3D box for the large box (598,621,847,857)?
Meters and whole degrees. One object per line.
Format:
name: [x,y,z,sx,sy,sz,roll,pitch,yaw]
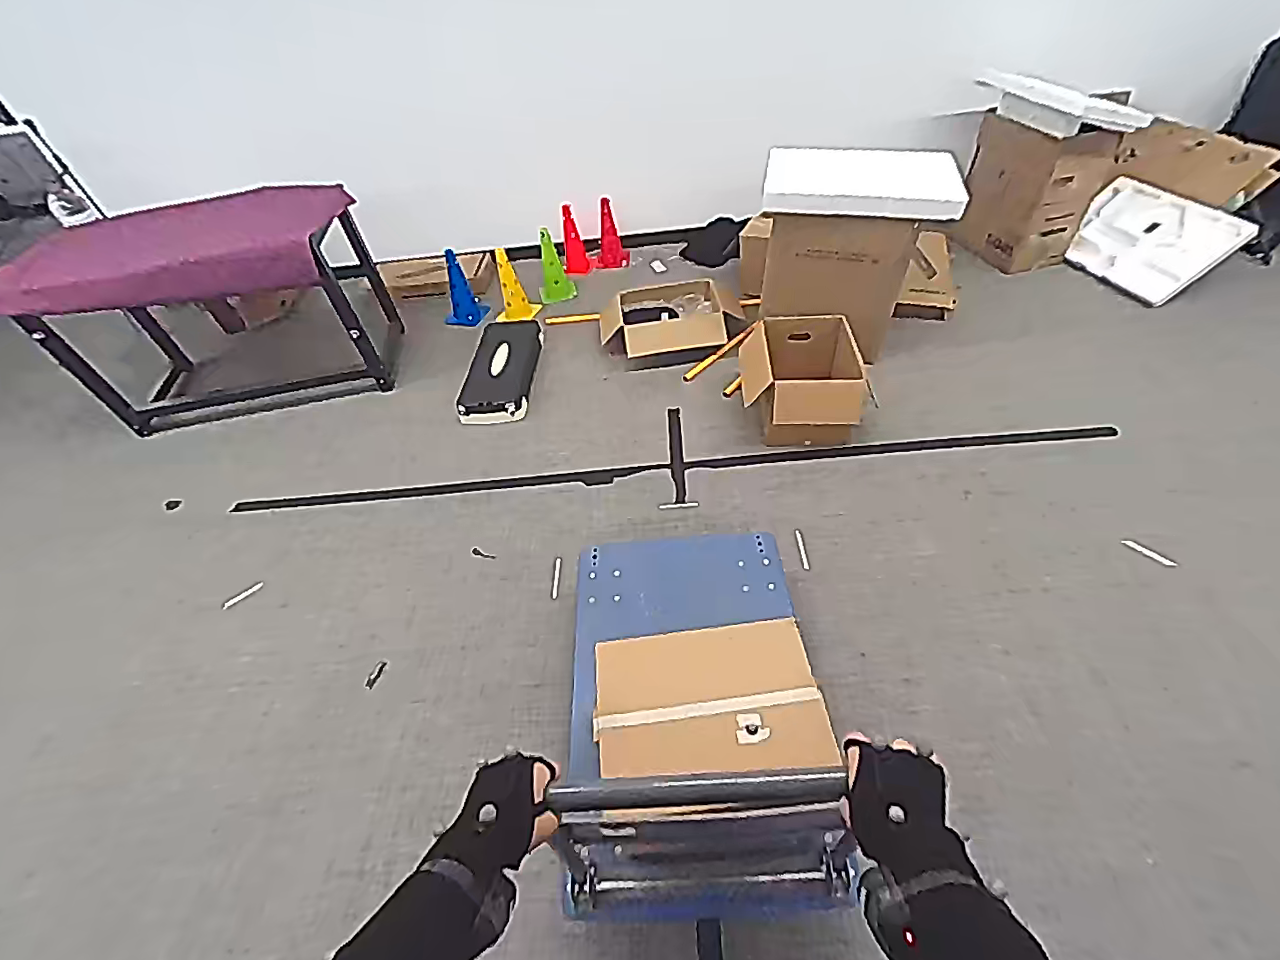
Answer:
large box: [0.138,0.522,1.088,0.408,0.320,0.320,-7,47,-1]
